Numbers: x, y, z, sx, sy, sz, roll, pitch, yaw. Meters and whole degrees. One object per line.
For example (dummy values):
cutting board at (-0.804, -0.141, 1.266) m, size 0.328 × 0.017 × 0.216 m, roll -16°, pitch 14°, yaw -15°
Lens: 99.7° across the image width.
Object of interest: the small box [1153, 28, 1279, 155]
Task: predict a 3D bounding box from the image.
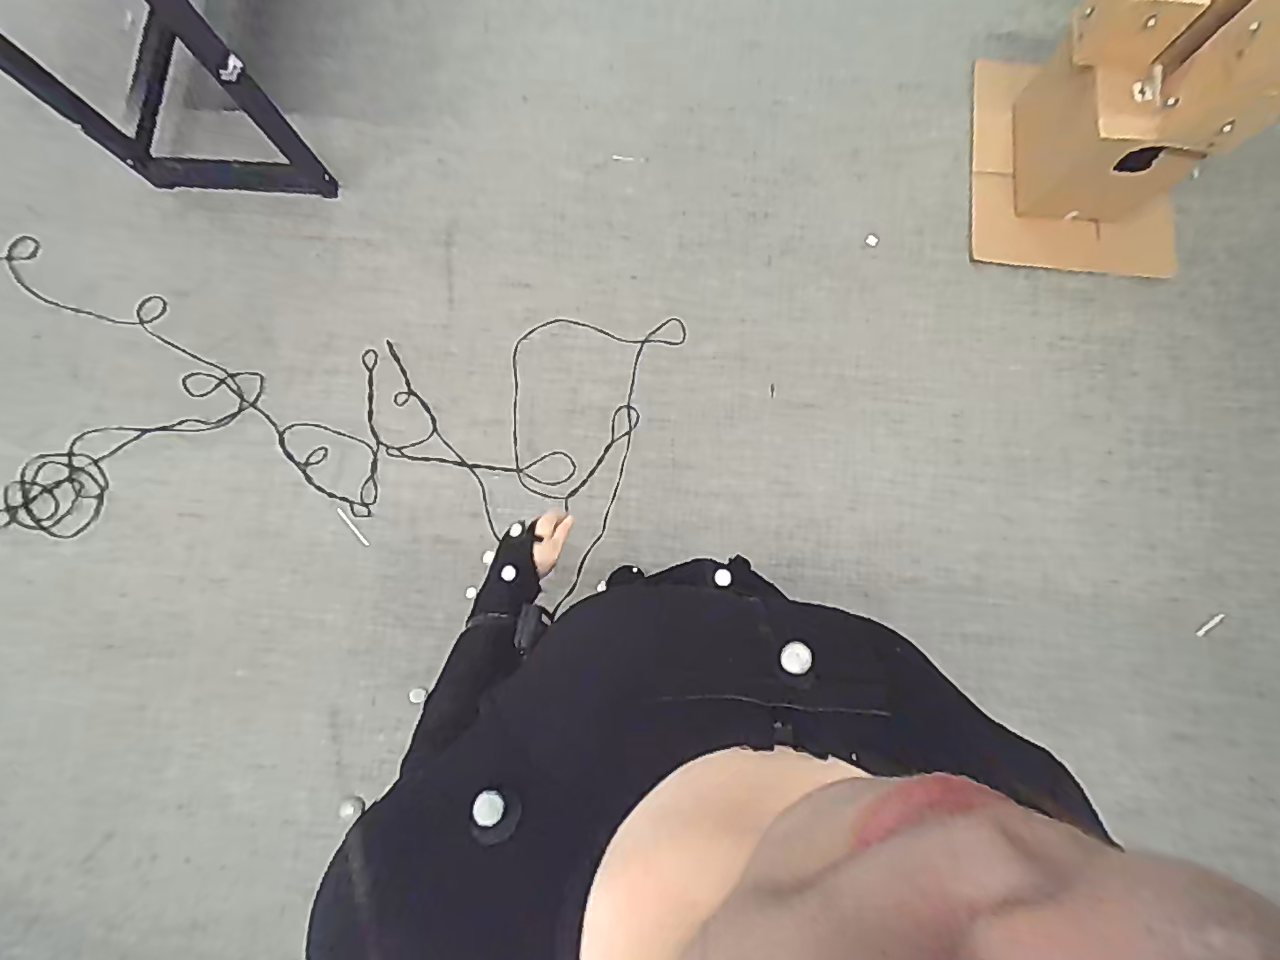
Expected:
small box at (1.365, -0.904, 1.271) m, size 0.168 × 0.176 × 0.179 m, roll 8°, pitch 79°, yaw 1°
